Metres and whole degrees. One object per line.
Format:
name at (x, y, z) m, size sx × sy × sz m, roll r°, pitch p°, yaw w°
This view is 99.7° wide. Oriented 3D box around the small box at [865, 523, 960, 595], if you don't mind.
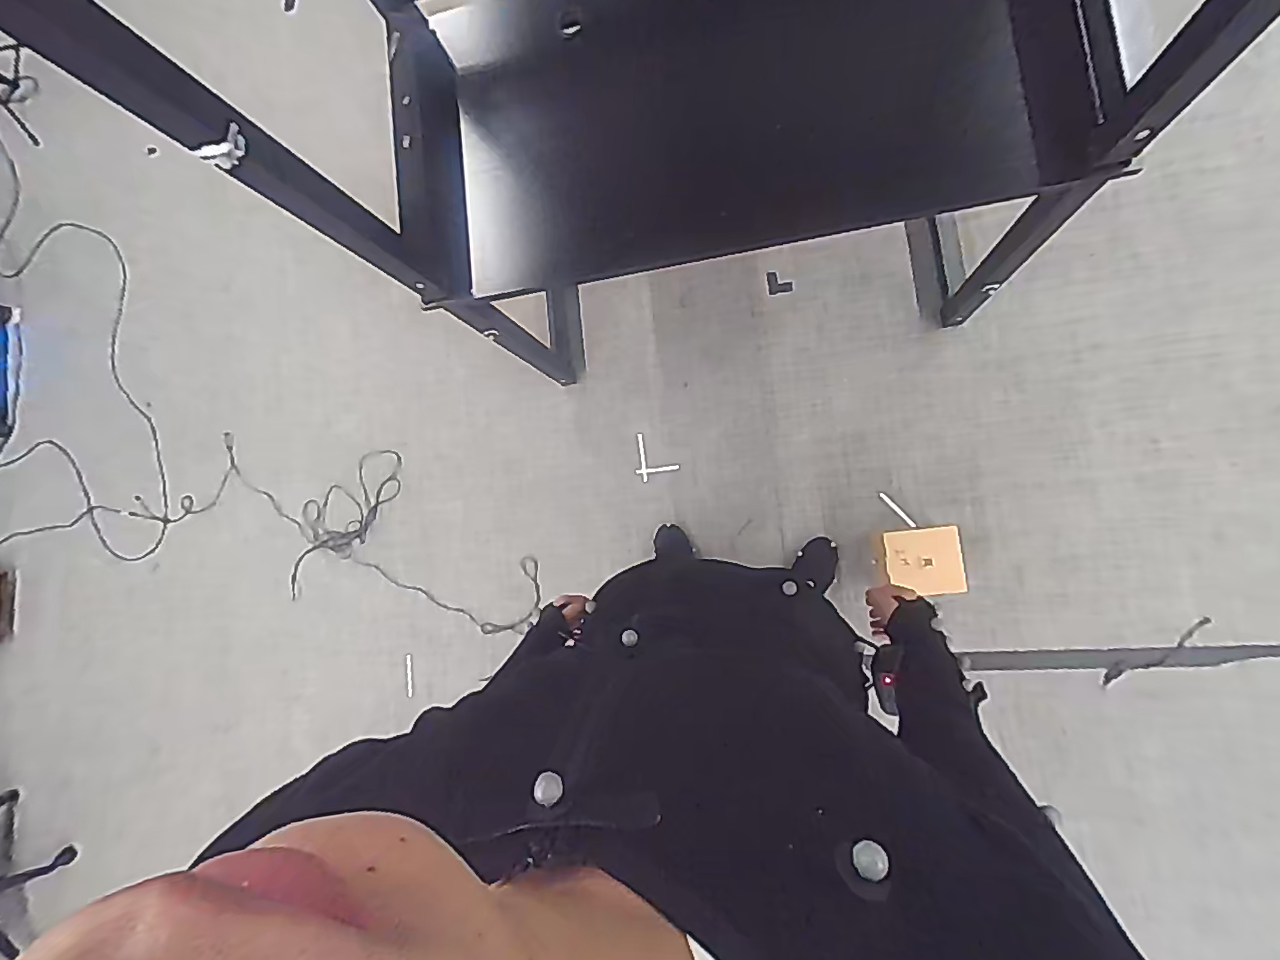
small box at (0.711, 0.204, 1.427) m, size 0.179 × 0.176 × 0.168 m, roll -7°, pitch 85°, yaw 12°
